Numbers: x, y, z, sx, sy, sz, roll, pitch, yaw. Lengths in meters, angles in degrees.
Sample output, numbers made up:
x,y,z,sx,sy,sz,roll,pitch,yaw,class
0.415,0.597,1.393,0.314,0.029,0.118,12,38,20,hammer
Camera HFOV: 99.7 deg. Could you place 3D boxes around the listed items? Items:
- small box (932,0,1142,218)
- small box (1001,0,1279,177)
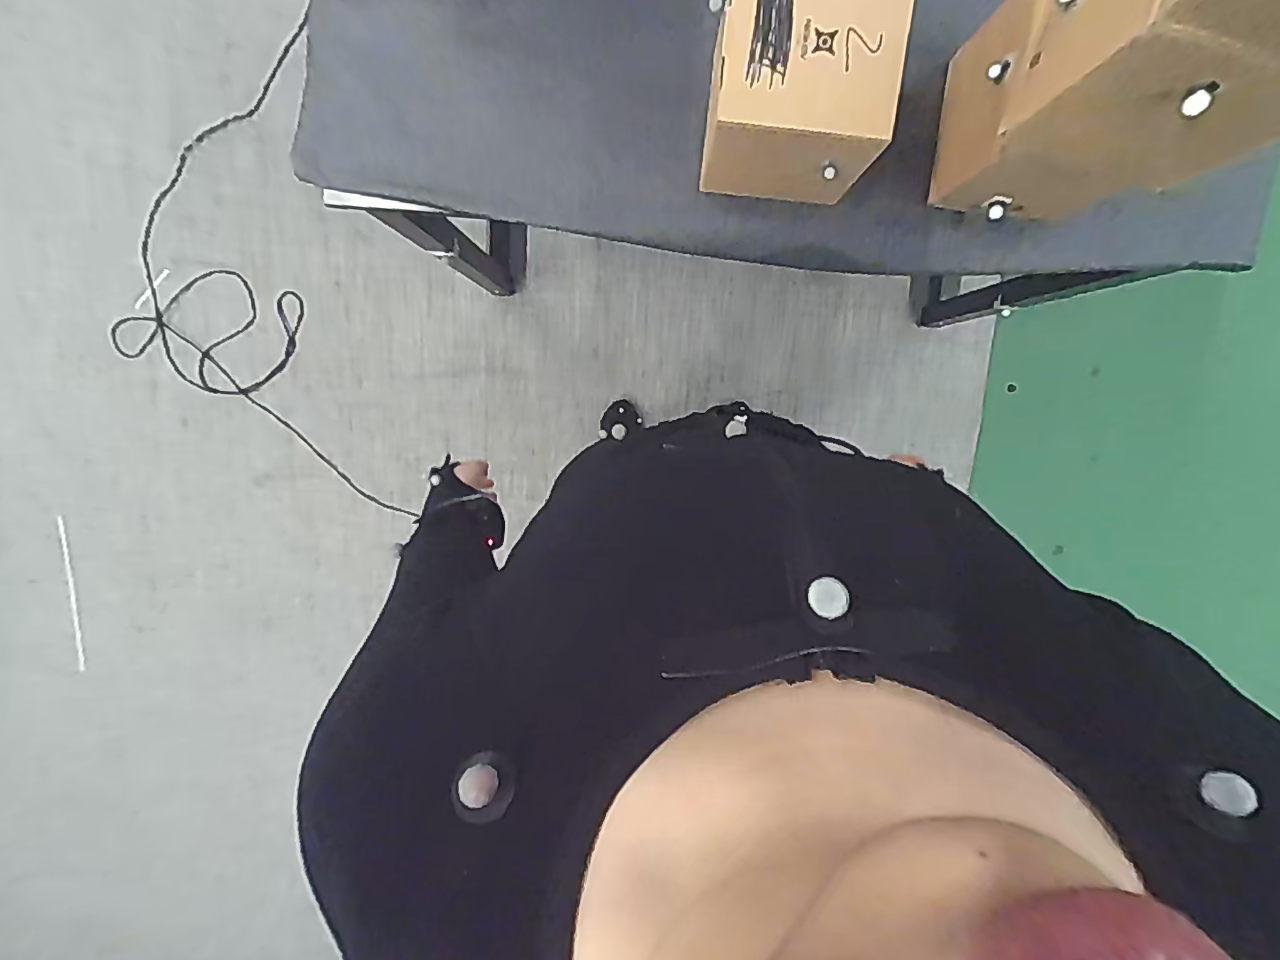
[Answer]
x,y,z,sx,sy,sz,roll,pitch,yaw,class
0.452,-0.414,0.596,0.168,0.176,0.179,5,99,1,small box
0.449,-0.376,0.437,0.179,0.176,0.168,16,98,-1,small box
